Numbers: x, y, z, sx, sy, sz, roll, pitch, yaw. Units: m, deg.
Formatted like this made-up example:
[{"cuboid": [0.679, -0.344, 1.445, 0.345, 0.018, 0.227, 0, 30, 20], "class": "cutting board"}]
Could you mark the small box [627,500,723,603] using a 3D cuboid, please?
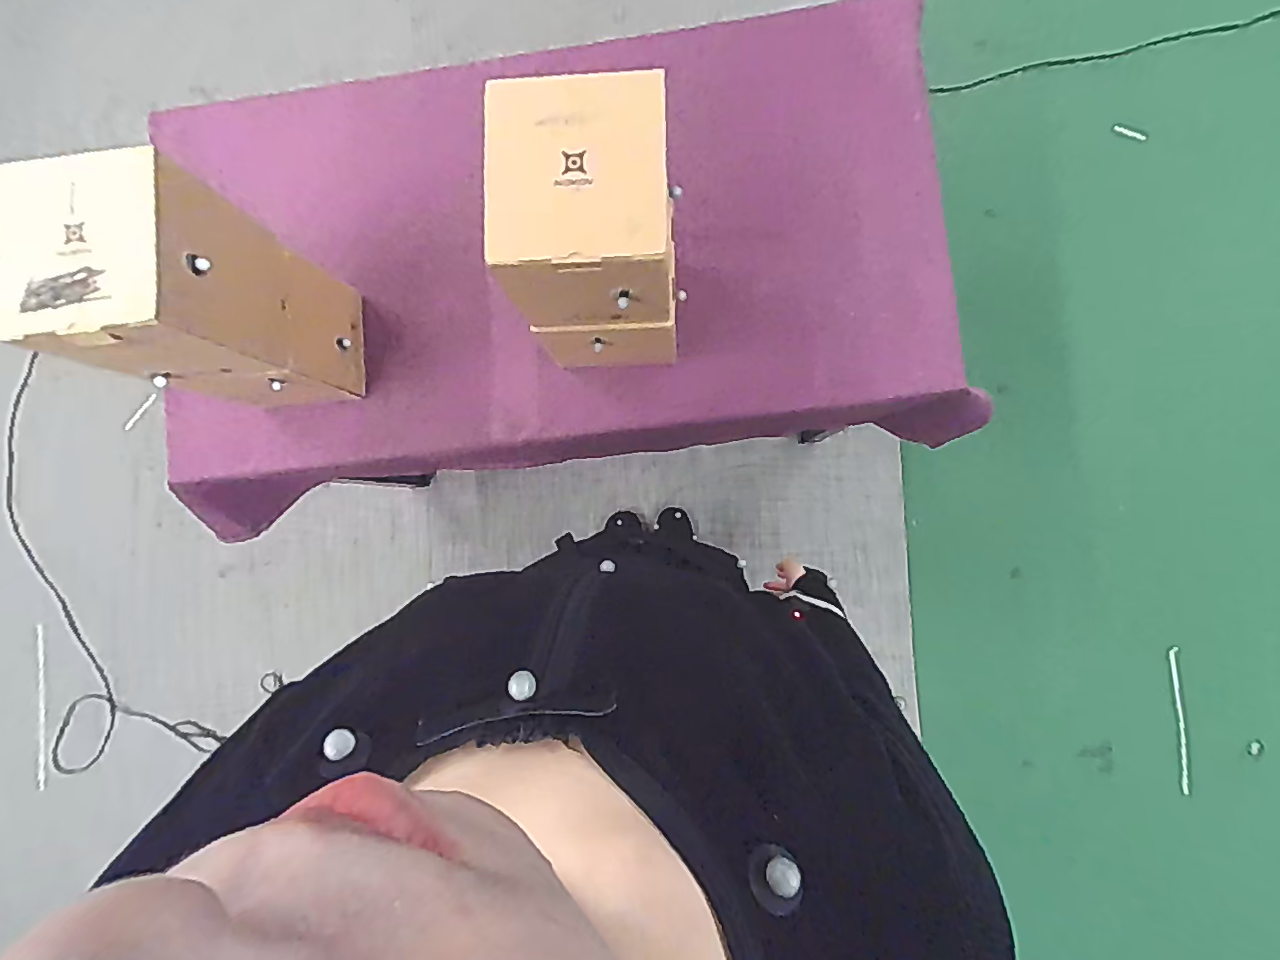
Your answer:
[{"cuboid": [0.084, 0.189, 1.416, 0.179, 0.176, 0.168, -23, 55, -30], "class": "small box"}]

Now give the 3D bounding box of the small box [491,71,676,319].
[{"cuboid": [-0.046, -0.277, 0.567, 0.168, 0.176, 0.179, 0, 86, 4], "class": "small box"}]

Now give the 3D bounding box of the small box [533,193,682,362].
[{"cuboid": [-0.034, -0.260, 0.729, 0.179, 0.176, 0.168, 1, 87, 4], "class": "small box"}]

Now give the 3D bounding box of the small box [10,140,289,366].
[{"cuboid": [-0.522, -0.232, 0.600, 0.168, 0.176, 0.179, -4, 85, 3], "class": "small box"}]

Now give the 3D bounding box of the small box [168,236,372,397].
[{"cuboid": [-0.509, -0.218, 0.763, 0.179, 0.176, 0.168, -4, 86, 3], "class": "small box"}]
